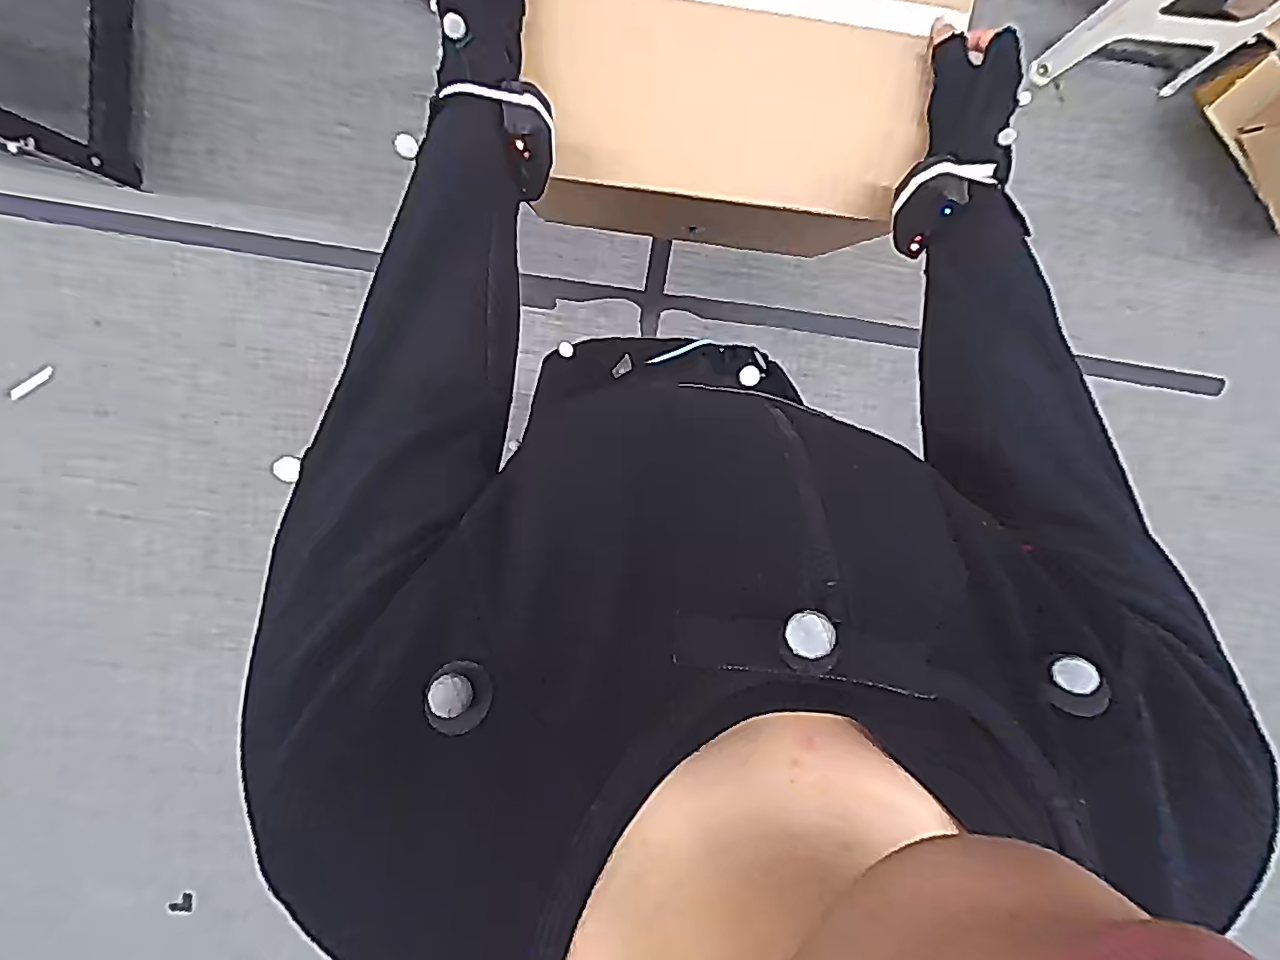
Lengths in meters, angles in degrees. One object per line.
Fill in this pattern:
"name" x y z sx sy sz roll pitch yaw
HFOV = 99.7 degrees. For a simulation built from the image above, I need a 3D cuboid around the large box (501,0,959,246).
"large box" 0.079 -0.464 0.616 0.408 0.320 0.320 6 107 -4
